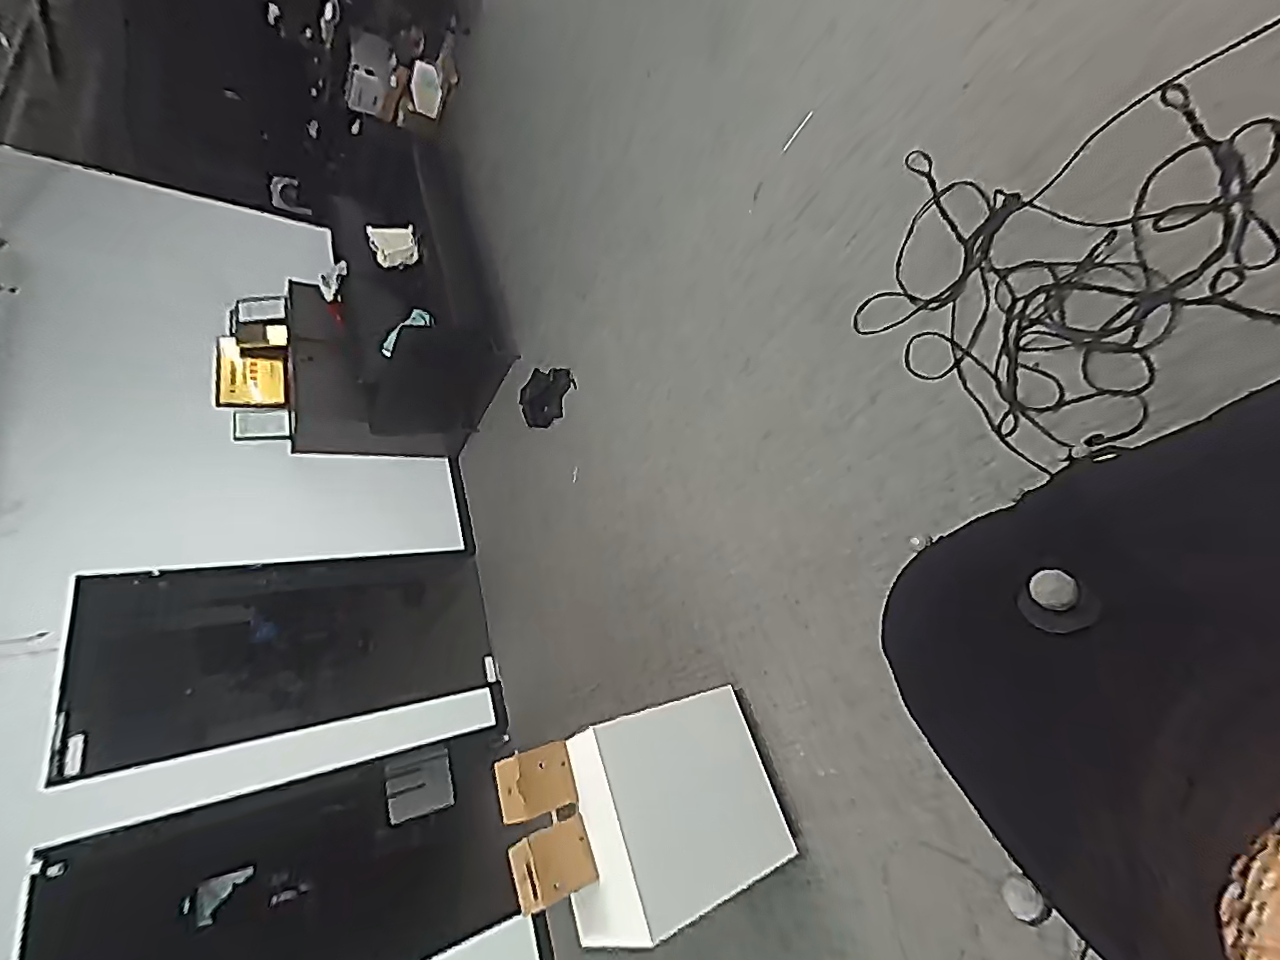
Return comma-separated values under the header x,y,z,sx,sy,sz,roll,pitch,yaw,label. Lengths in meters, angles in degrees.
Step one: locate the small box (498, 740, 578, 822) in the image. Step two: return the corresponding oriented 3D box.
x,y,z,sx,sy,sz,roll,pitch,yaw,label
-0.298,0.889,1.602,0.179,0.176,0.168,-45,54,44,small box
